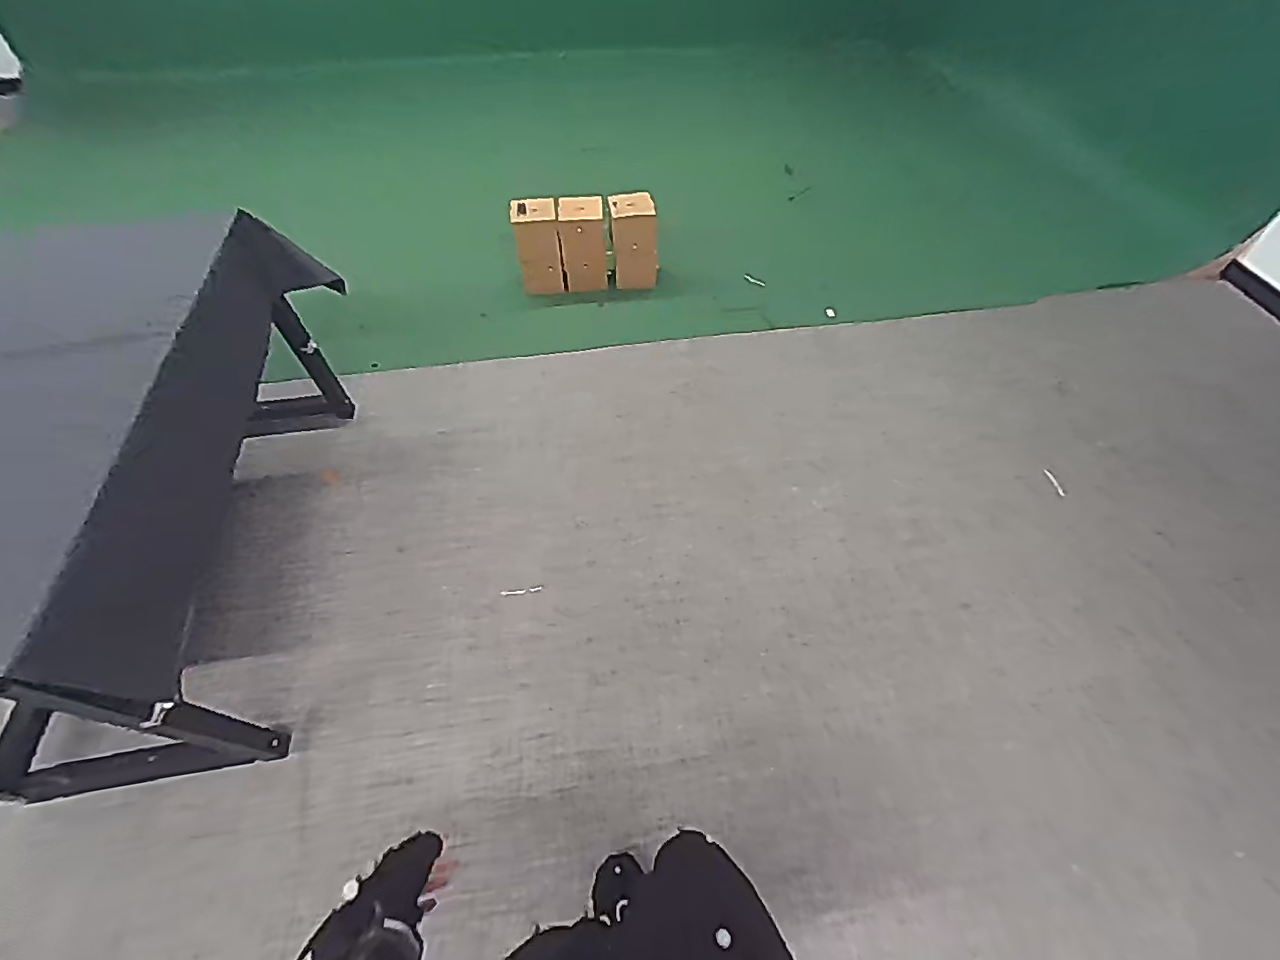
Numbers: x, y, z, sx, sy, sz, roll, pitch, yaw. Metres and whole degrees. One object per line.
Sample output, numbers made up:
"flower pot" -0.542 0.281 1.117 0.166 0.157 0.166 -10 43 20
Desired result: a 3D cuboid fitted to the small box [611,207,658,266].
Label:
"small box" -0.027 -1.010 2.247 0.179 0.176 0.168 -6 54 -6
